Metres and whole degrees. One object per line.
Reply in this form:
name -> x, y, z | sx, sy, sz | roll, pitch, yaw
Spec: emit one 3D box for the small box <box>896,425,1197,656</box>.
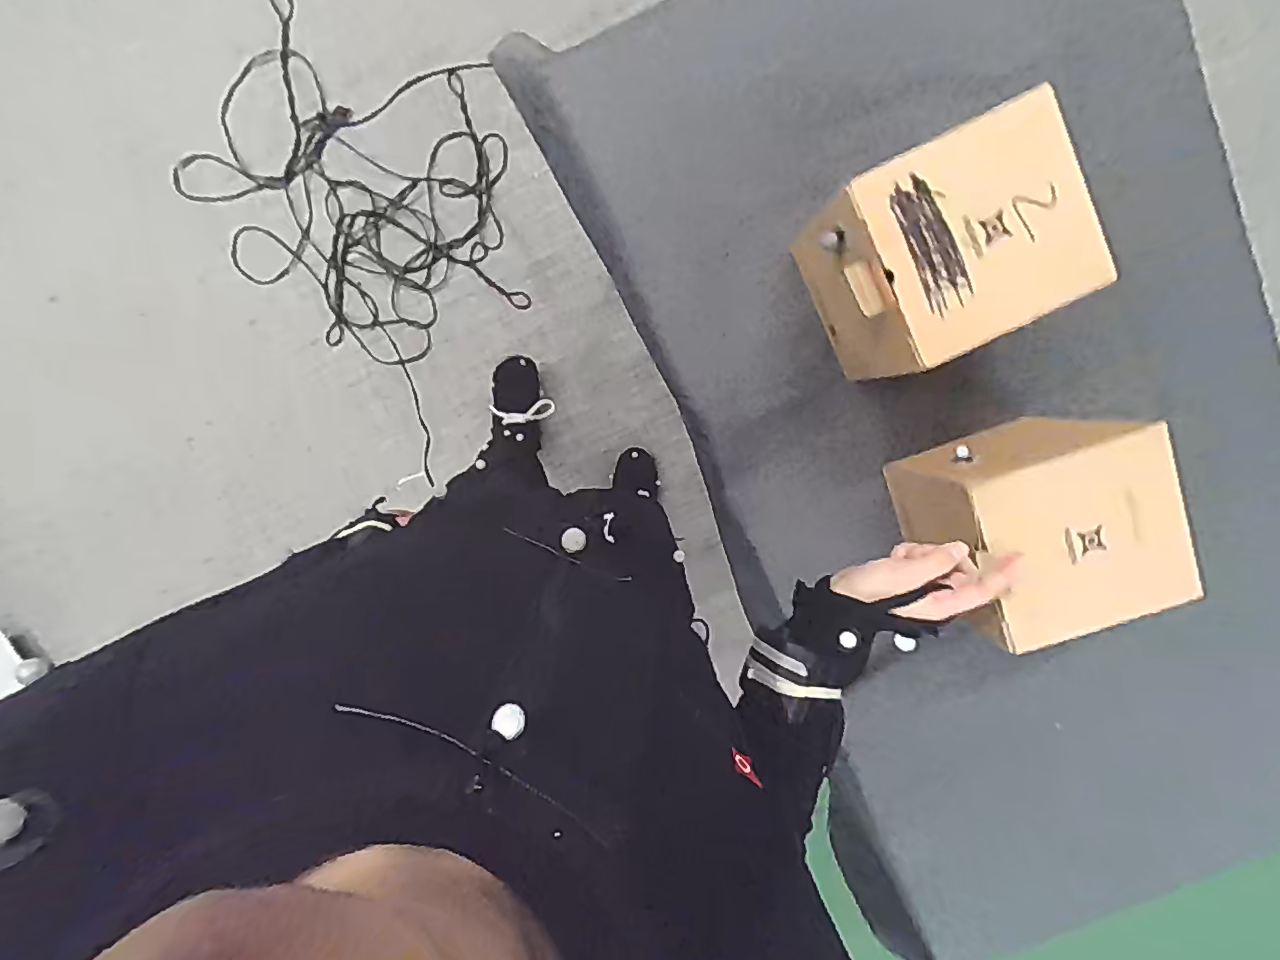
small box -> 0.389, 0.048, 0.555 | 0.179, 0.176, 0.168 | -19, 98, 1
